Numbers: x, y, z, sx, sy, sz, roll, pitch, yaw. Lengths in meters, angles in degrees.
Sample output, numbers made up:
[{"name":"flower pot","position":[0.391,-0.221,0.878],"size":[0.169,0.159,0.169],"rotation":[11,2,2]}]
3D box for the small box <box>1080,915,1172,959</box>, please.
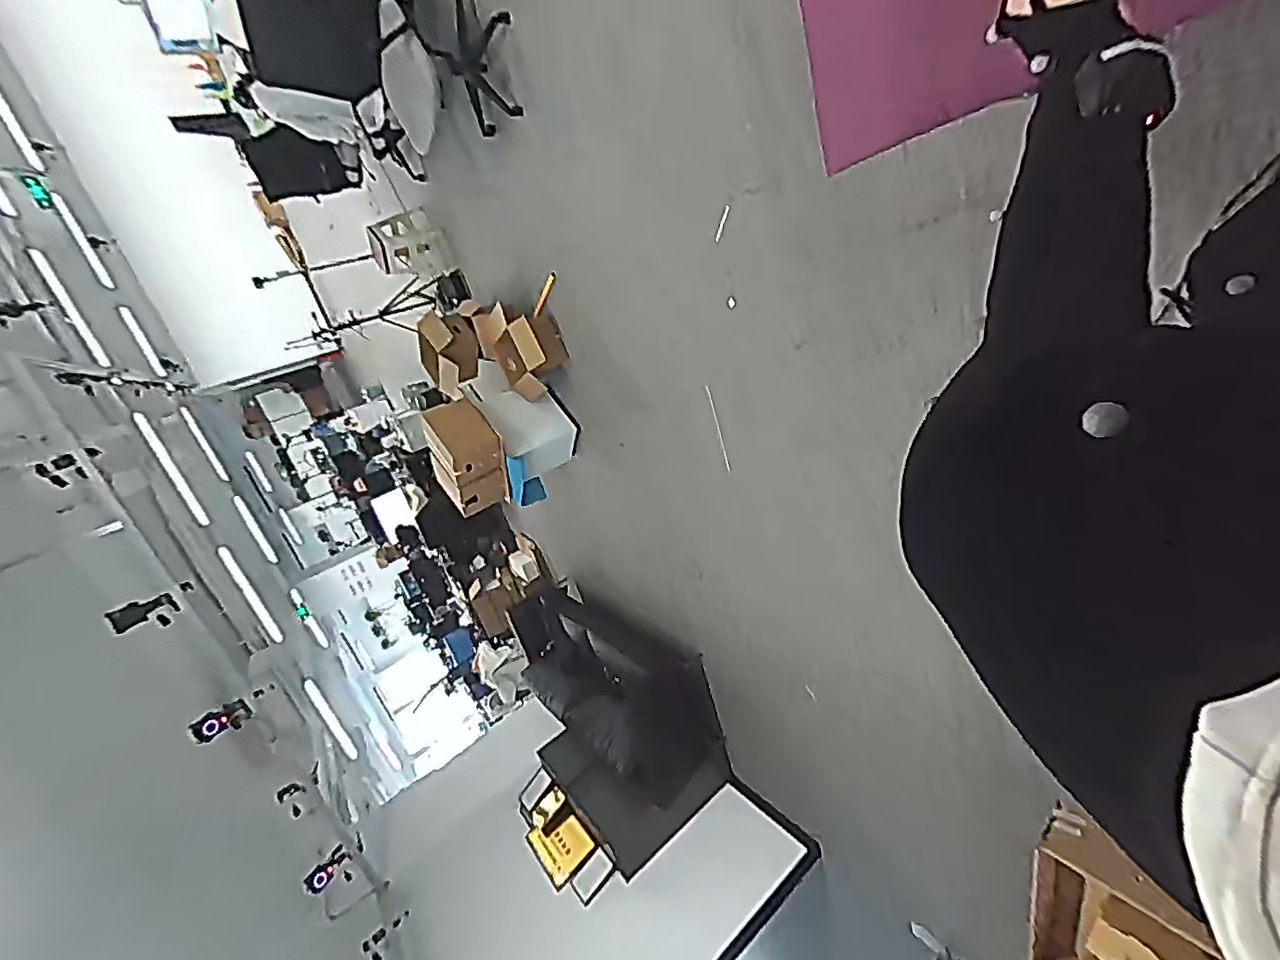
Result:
[{"name":"small box","position":[1.308,1.342,1.453],"size":[0.168,0.176,0.179],"rotation":[15,125,52]}]
